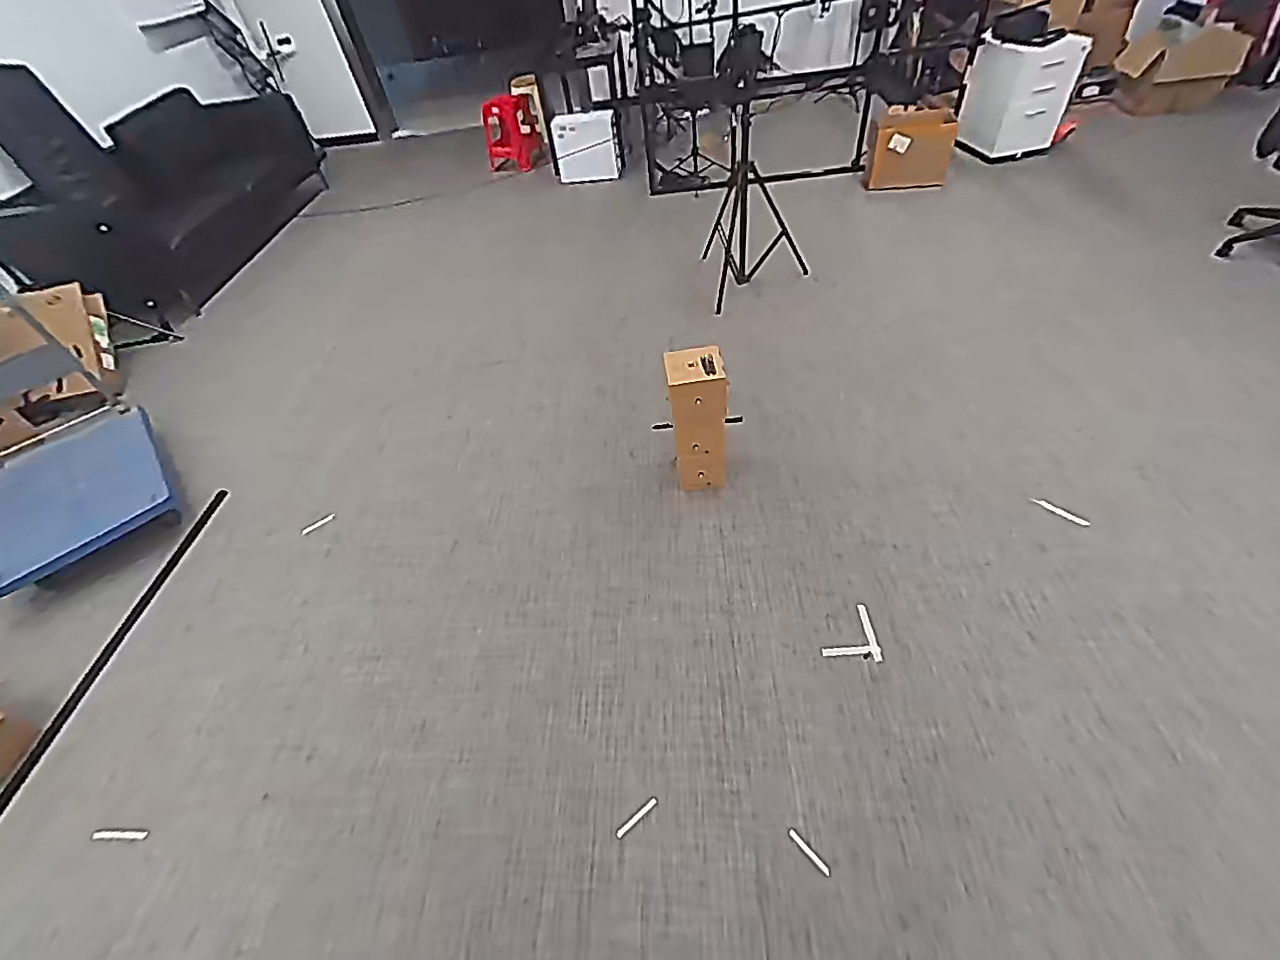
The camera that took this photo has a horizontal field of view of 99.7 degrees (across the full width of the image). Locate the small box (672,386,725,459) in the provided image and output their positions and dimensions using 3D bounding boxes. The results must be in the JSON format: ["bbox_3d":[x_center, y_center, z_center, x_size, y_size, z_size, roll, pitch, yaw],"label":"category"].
[{"bbox_3d":[0.198,-0.193,1.841,0.168,0.176,0.179,-6,48,4],"label":"small box"}]

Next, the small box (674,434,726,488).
[{"bbox_3d":[0.218,-0.084,1.959,0.168,0.176,0.179,-7,47,3],"label":"small box"}]
